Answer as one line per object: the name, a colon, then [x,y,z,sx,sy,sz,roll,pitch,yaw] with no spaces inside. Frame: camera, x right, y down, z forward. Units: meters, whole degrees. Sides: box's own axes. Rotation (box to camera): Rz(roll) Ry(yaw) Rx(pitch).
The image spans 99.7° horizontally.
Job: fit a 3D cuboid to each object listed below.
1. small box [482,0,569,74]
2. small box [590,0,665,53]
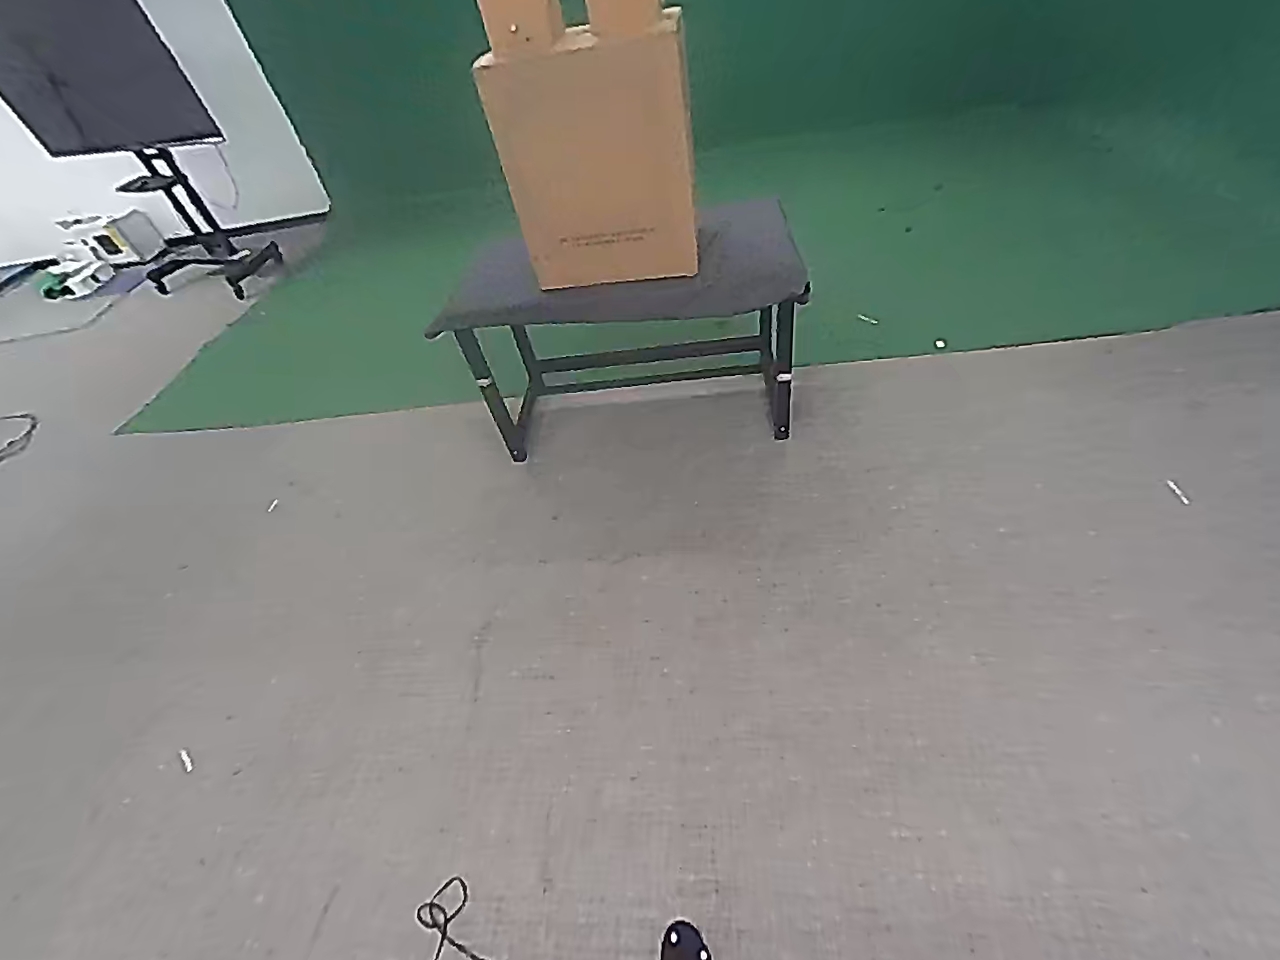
small box: [-0.295,-1.204,1.433,0.168,0.176,0.179,-3,48,11]
small box: [-0.033,-1.235,1.403,0.179,0.176,0.168,-1,49,8]
